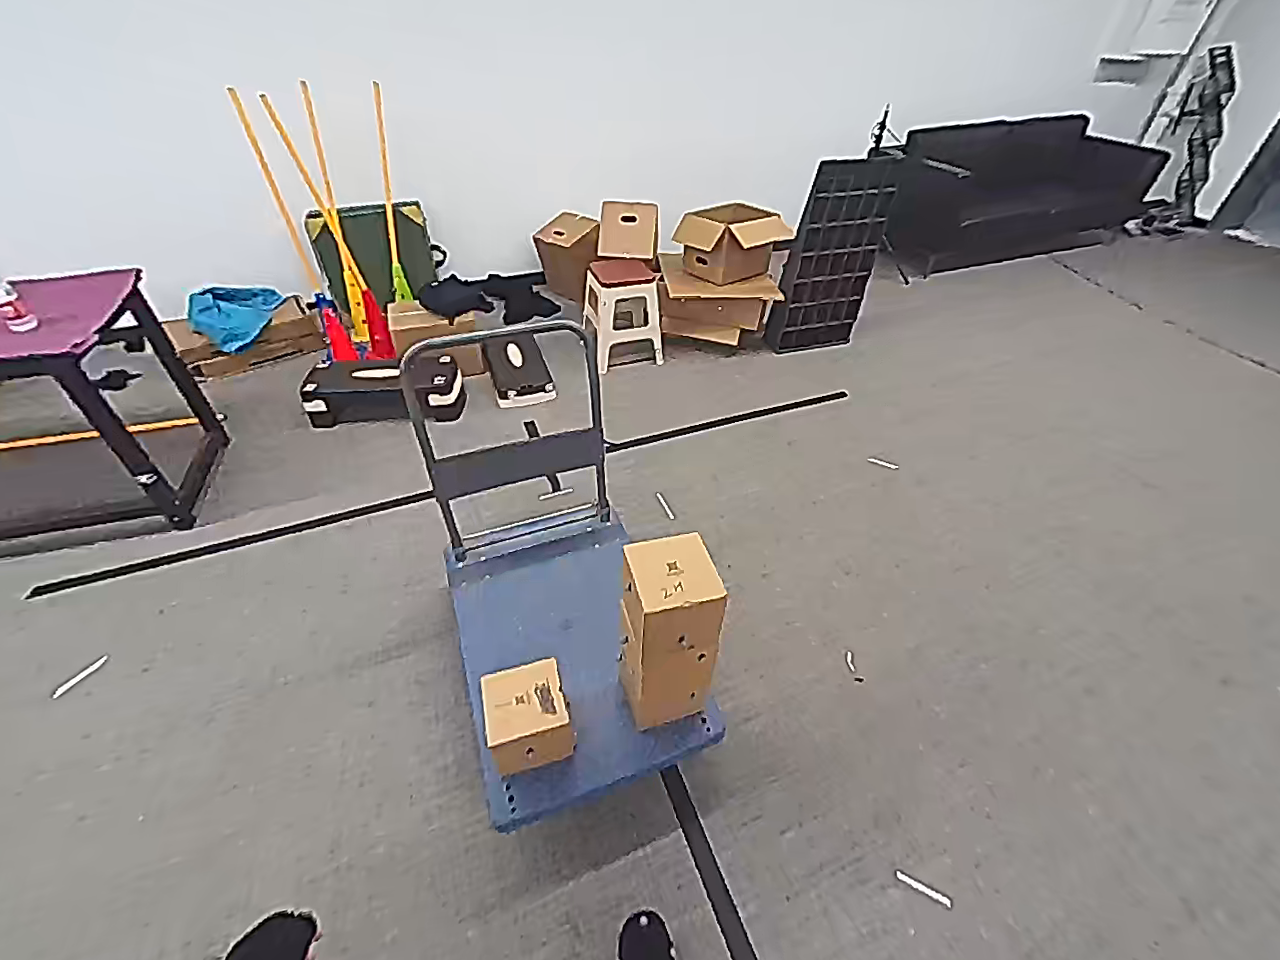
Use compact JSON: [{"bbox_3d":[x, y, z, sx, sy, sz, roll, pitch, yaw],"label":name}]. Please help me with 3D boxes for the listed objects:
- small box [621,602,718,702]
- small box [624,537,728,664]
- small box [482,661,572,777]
[{"bbox_3d":[0.060,0.372,1.216,0.179,0.176,0.168,-9,42,-14],"label":"small box"},{"bbox_3d":[0.063,0.245,1.110,0.168,0.176,0.179,-9,42,-12],"label":"small box"},{"bbox_3d":[-0.256,0.552,1.246,0.179,0.176,0.168,-11,43,-13],"label":"small box"}]
